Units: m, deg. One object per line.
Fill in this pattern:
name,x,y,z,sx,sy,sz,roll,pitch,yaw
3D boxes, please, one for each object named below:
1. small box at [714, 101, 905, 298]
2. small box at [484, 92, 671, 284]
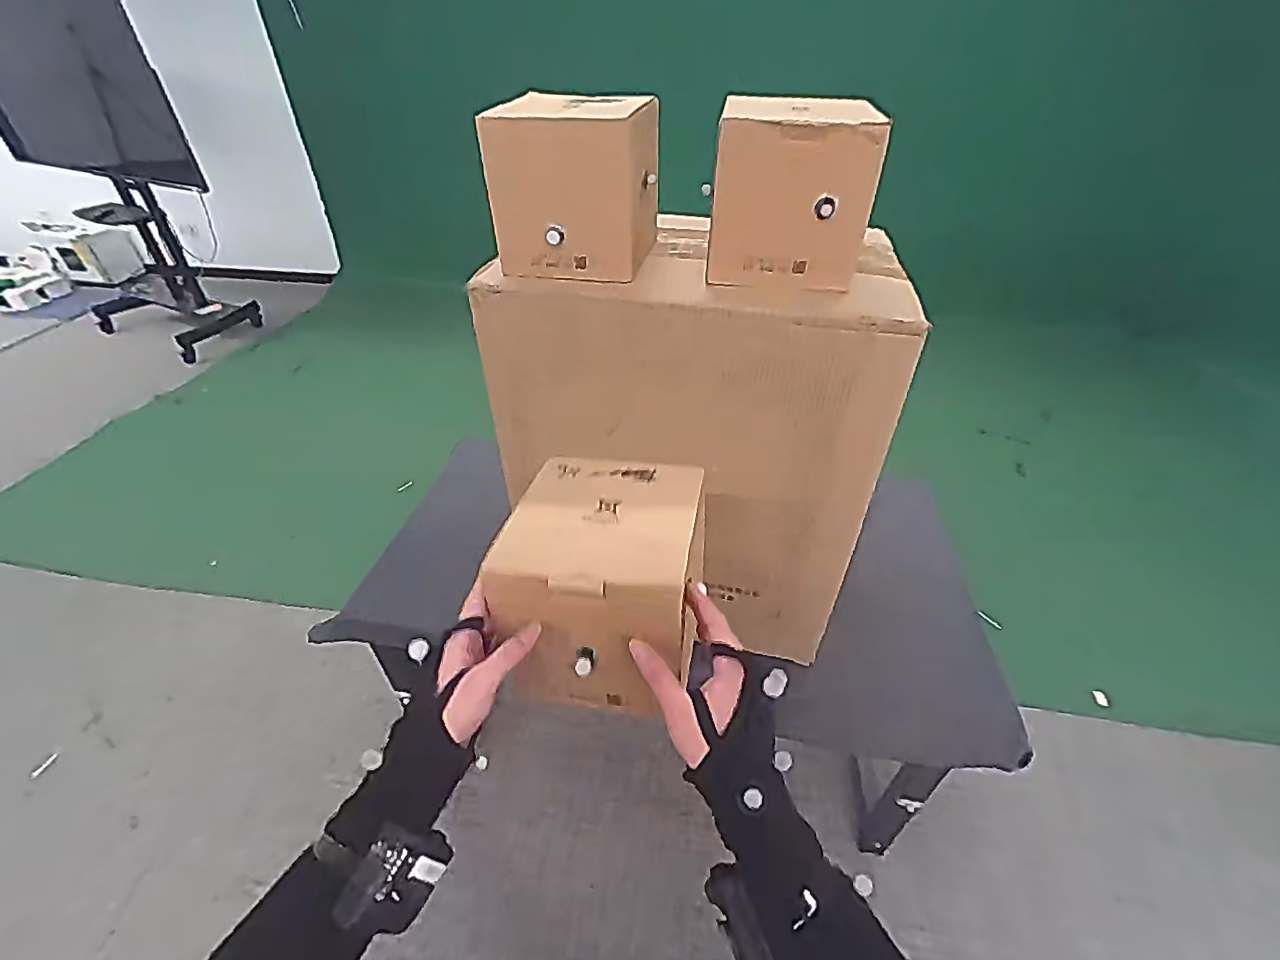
small box,0.181,-0.328,0.632,0.168,0.176,0.179,8,41,4
small box,-0.063,-0.355,0.652,0.168,0.176,0.179,9,42,11
